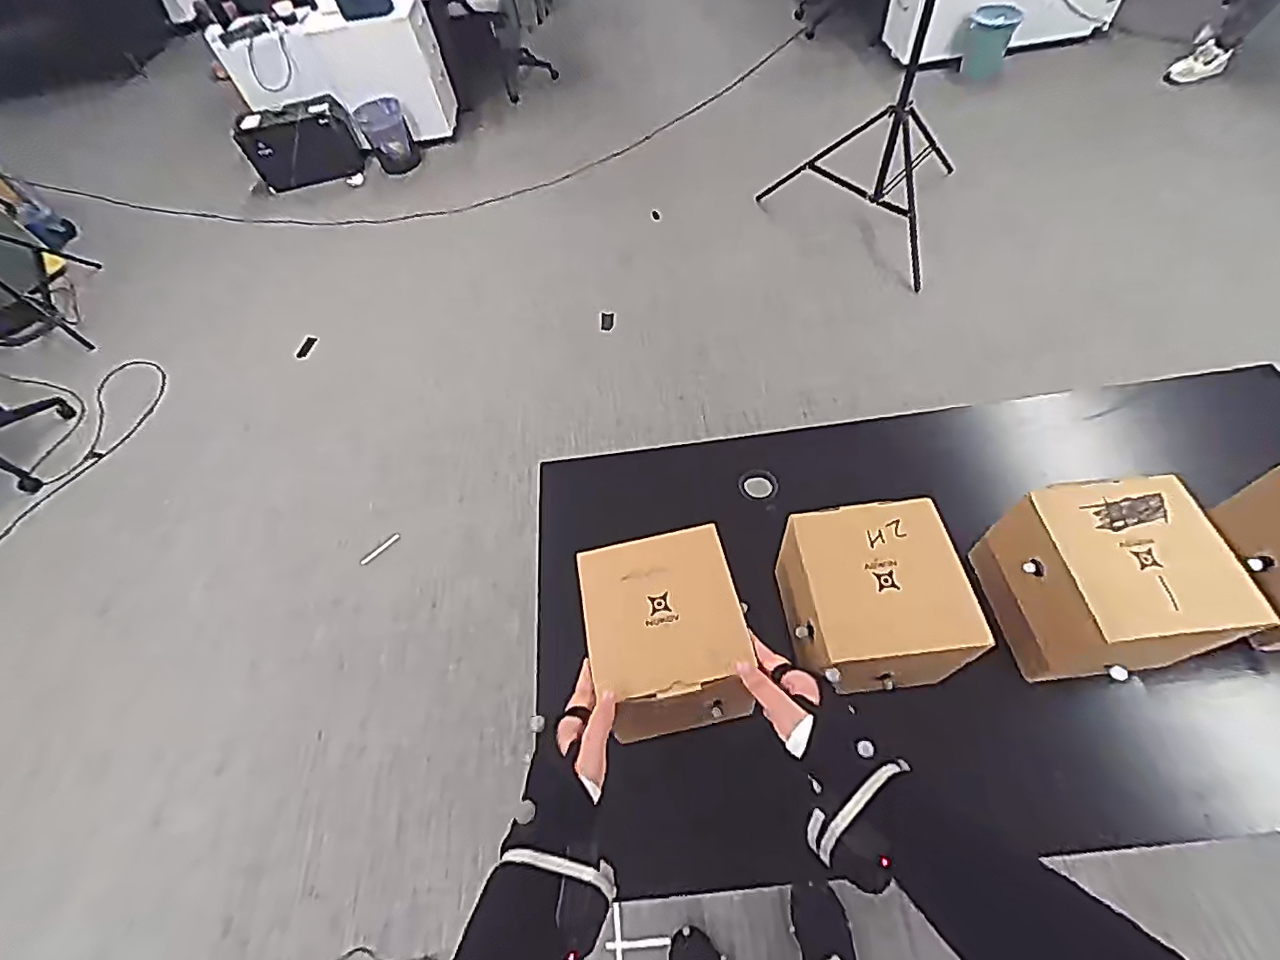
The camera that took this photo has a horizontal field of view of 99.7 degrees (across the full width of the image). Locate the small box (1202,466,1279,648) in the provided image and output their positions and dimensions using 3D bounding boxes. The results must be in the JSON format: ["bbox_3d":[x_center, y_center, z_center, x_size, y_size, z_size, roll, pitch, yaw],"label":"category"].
[{"bbox_3d":[0.813,0.087,0.624,0.179,0.176,0.168,-6,56,5],"label":"small box"}]

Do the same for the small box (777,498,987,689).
[{"bbox_3d":[0.270,0.146,0.654,0.168,0.176,0.179,-7,56,2],"label":"small box"}]

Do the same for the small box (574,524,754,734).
[{"bbox_3d":[0.028,0.182,0.632,0.168,0.176,0.179,-13,52,-1],"label":"small box"}]

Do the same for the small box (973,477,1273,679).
[{"bbox_3d":[0.534,0.120,0.638,0.168,0.176,0.179,-7,57,3],"label":"small box"}]
